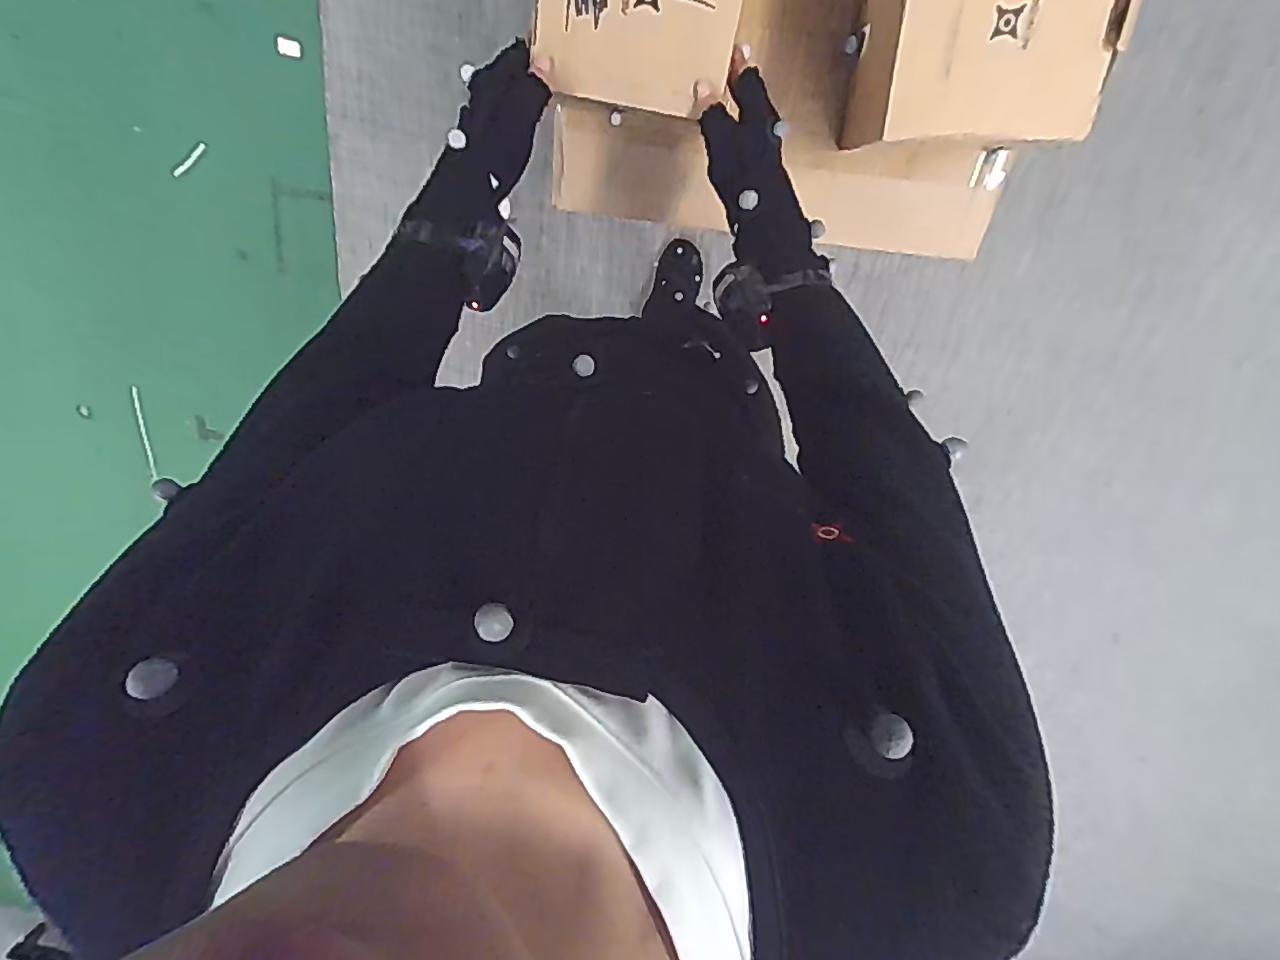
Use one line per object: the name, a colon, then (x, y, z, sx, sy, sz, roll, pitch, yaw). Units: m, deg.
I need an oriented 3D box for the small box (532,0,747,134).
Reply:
small box: (0.010, -0.449, 0.521, 0.179, 0.176, 0.168, 11, 118, 1)

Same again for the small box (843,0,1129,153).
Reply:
small box: (0.307, -0.410, 0.506, 0.179, 0.176, 0.168, 2, 117, 7)
